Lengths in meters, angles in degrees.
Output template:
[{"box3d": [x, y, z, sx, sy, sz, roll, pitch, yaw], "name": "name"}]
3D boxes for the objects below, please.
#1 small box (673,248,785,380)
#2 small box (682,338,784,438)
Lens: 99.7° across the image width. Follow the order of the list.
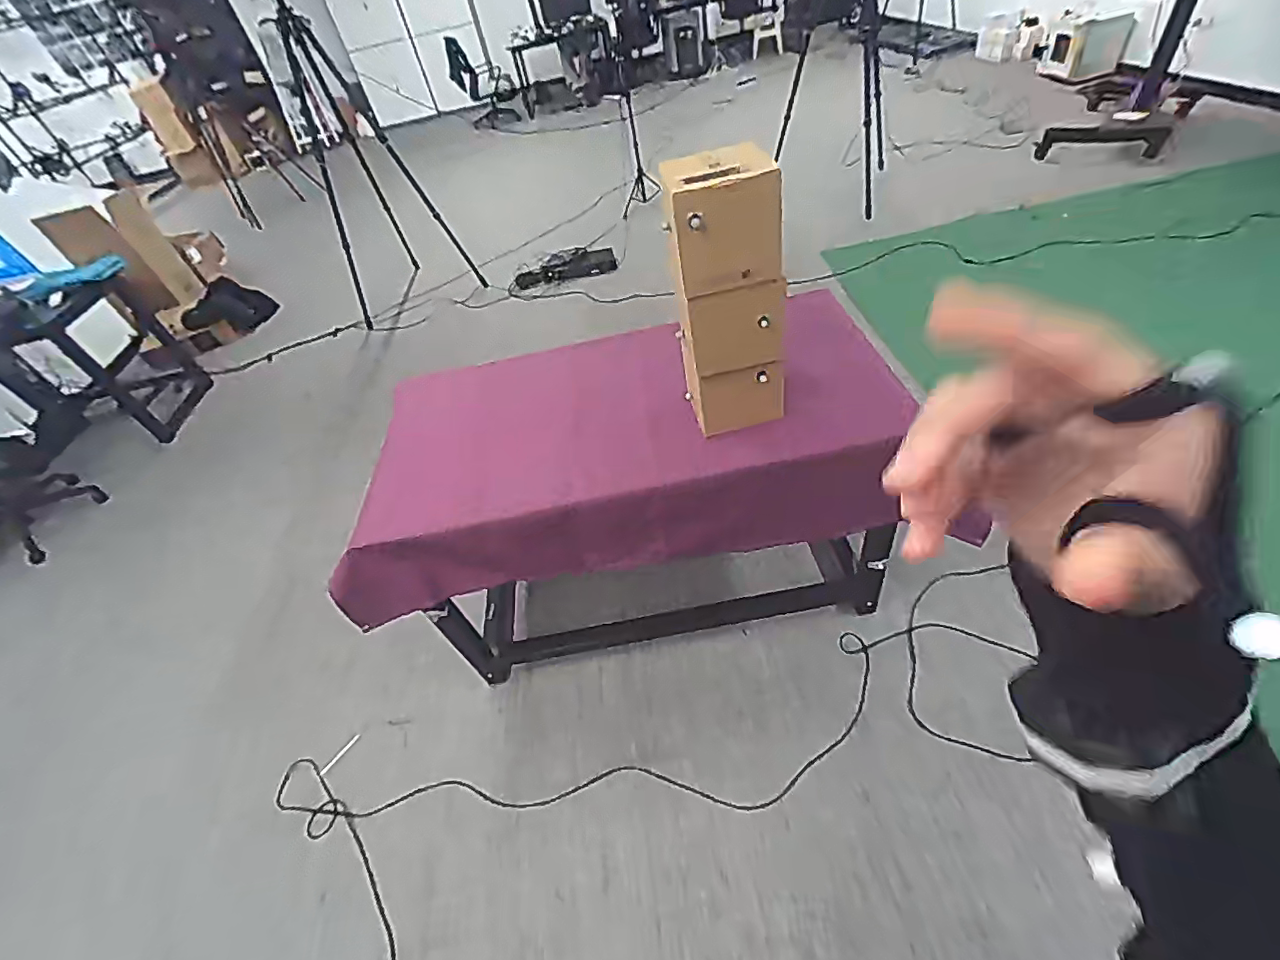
[{"box3d": [0.170, -0.318, 1.042, 0.179, 0.176, 0.168, -13, 43, 3], "name": "small box"}, {"box3d": [0.199, -0.215, 1.167, 0.179, 0.176, 0.168, -14, 43, 1], "name": "small box"}]
